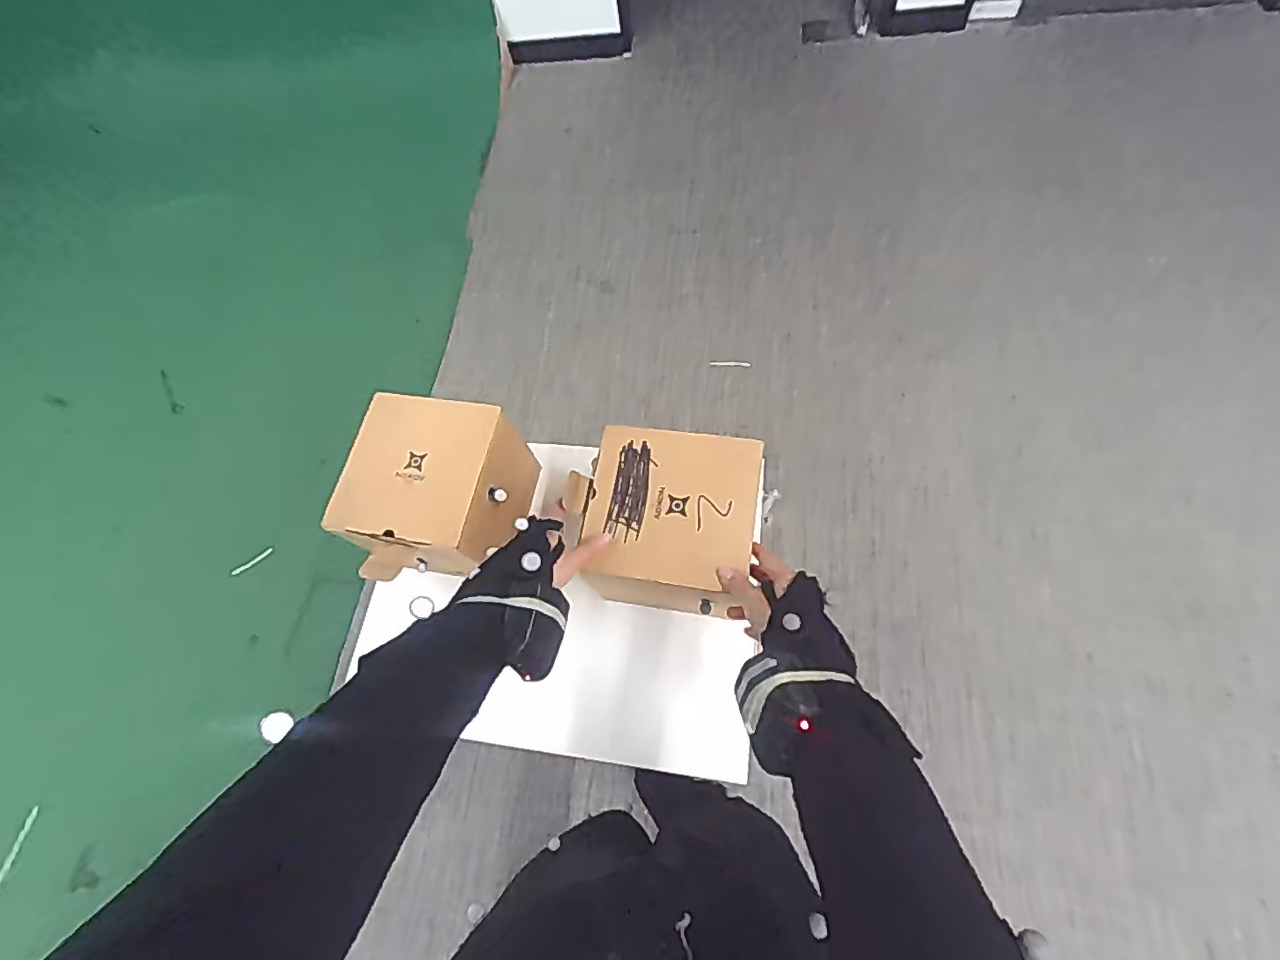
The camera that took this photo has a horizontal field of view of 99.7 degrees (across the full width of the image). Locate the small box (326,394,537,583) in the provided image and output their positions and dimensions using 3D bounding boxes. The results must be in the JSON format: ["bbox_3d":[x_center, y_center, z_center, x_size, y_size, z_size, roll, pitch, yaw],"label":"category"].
[{"bbox_3d":[-0.240,0.017,0.679,0.168,0.176,0.179,8,69,9],"label":"small box"}]
